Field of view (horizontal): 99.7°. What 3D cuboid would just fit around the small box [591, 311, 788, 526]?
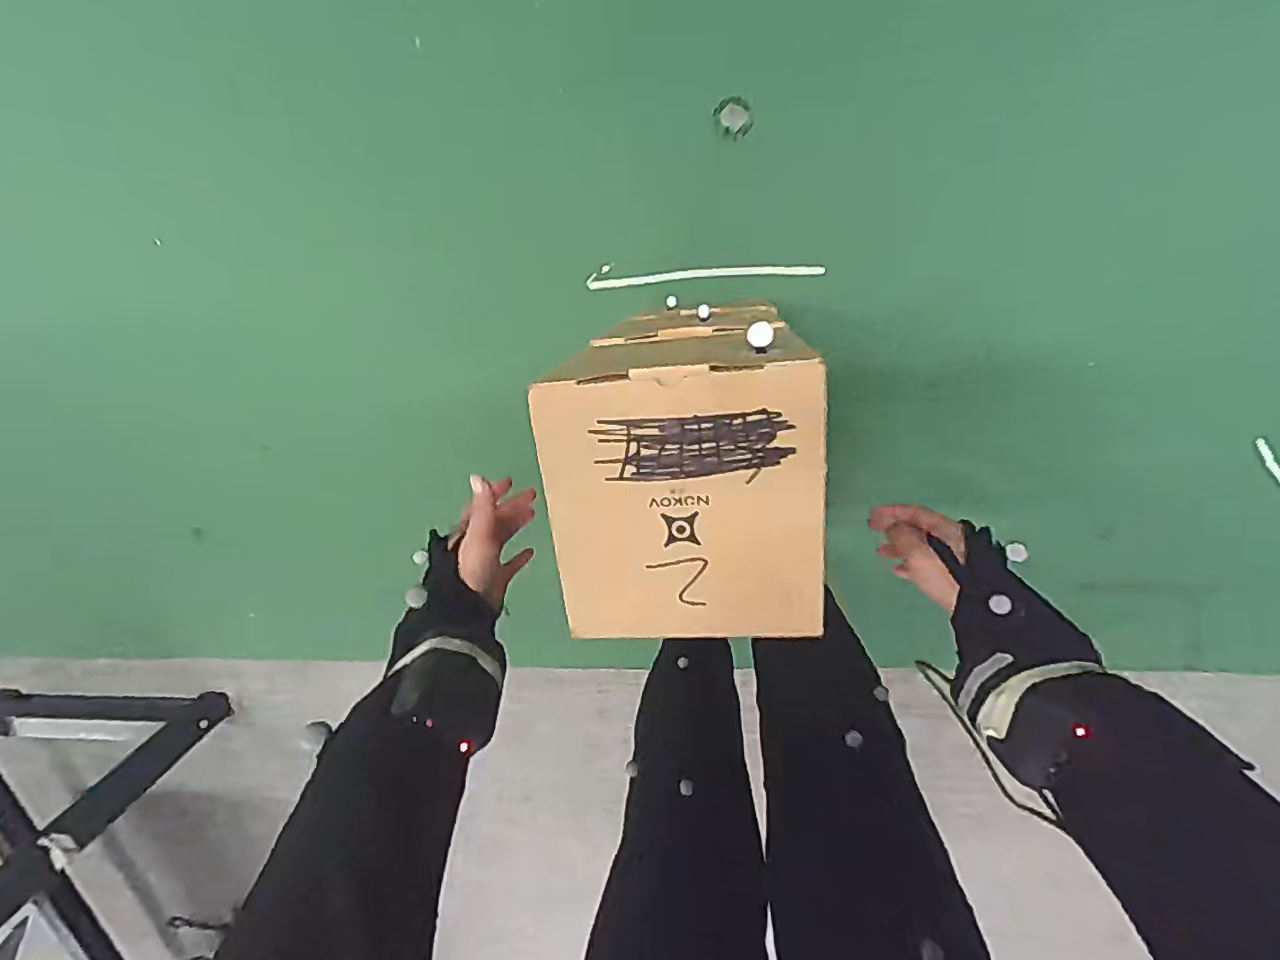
[{"bbox_3d":[0.057,-0.068,0.546,0.168,0.176,0.179,-3,110,9],"label":"small box"}]

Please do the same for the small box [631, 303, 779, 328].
[{"bbox_3d":[0.084,-0.131,0.694,0.168,0.176,0.179,-2,112,9],"label":"small box"}]
